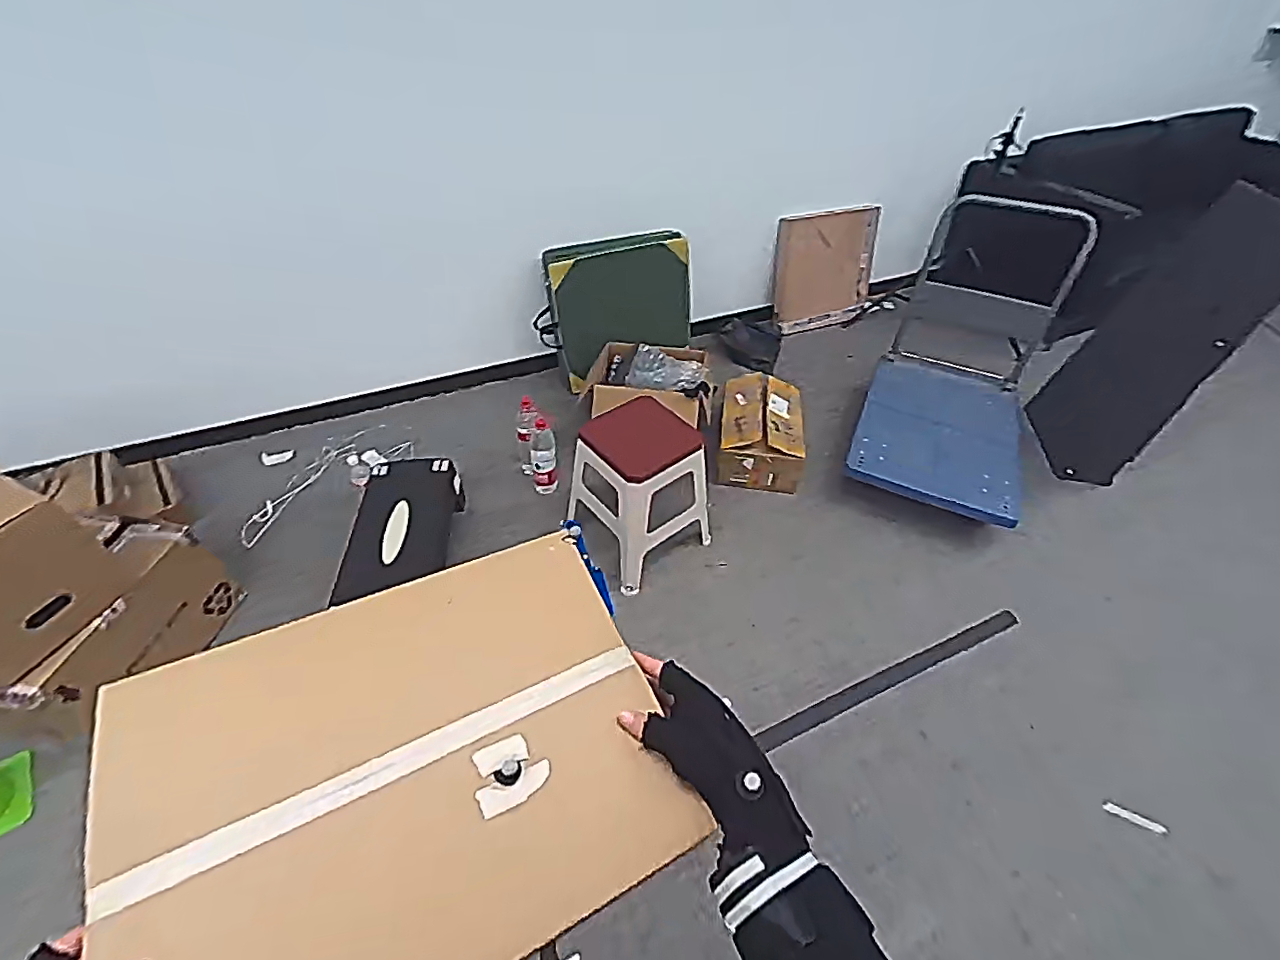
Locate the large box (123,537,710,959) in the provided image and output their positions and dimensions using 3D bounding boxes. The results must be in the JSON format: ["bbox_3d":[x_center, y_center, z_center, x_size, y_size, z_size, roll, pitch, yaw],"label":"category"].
[{"bbox_3d":[-0.202,0.323,0.560,0.408,0.320,0.320,-17,57,-24],"label":"large box"}]
